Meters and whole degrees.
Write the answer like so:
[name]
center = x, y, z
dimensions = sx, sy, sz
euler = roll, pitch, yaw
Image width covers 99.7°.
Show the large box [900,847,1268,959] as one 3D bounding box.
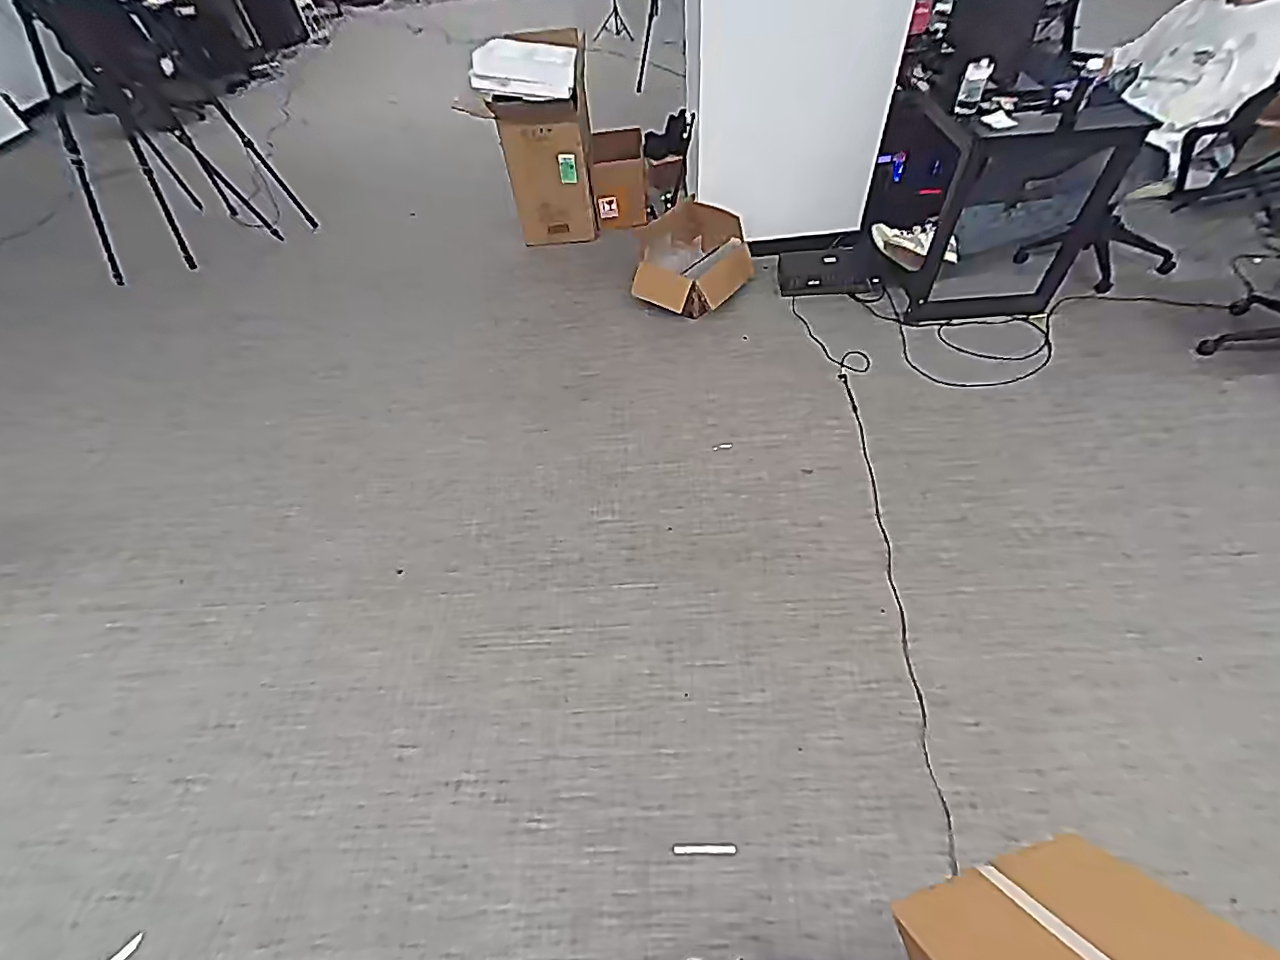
[large box]
center = 0.581, 0.714, 0.601
dimensions = 0.320, 0.408, 0.320
euler = -17, 82, -6
